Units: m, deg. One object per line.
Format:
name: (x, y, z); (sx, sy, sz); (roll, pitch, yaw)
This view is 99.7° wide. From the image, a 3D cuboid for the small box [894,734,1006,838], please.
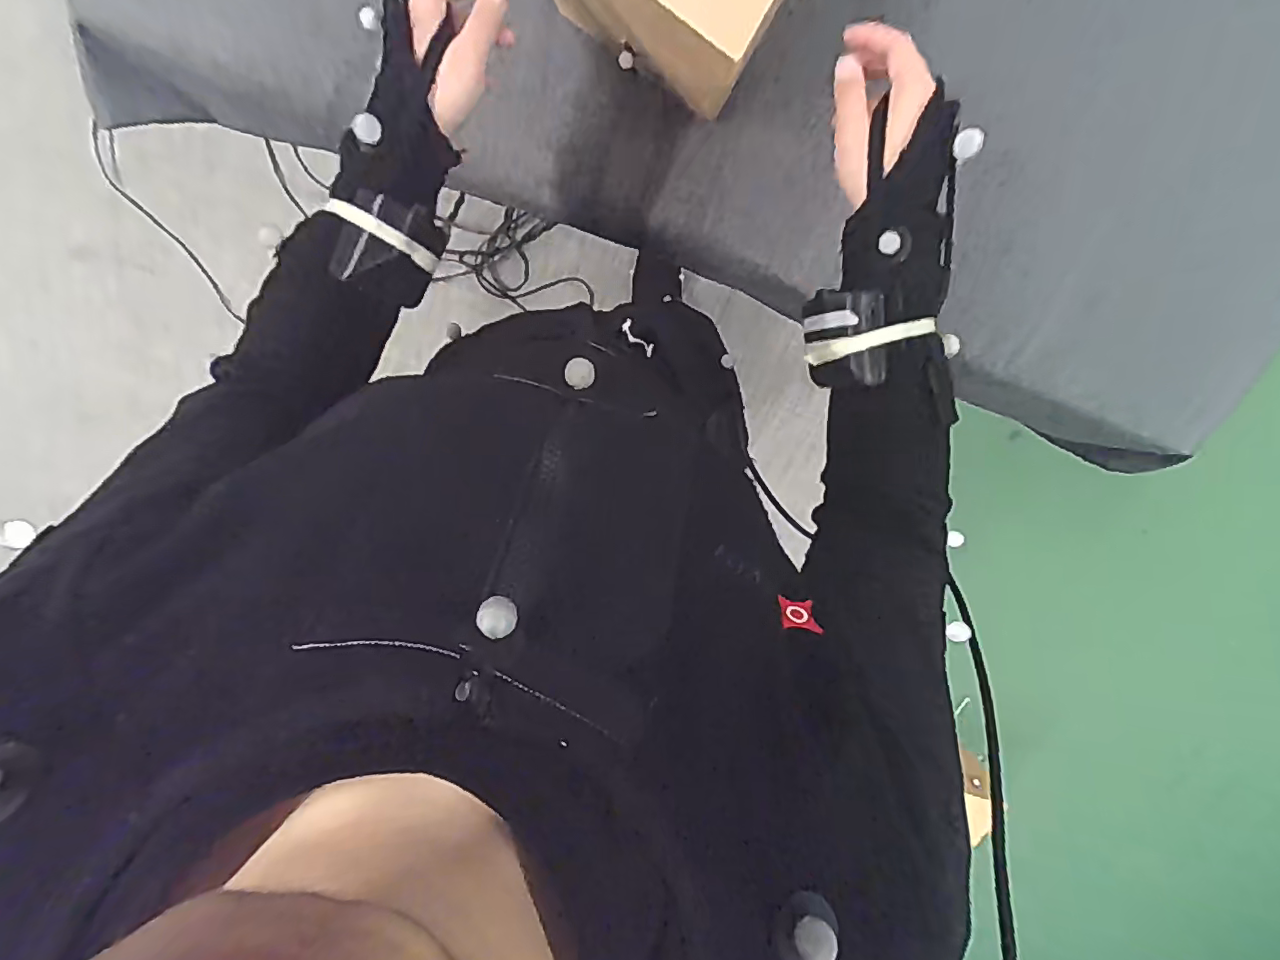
small box: (0.838, 0.832, 1.485); (0.179, 0.176, 0.168); (18, 110, -7)
